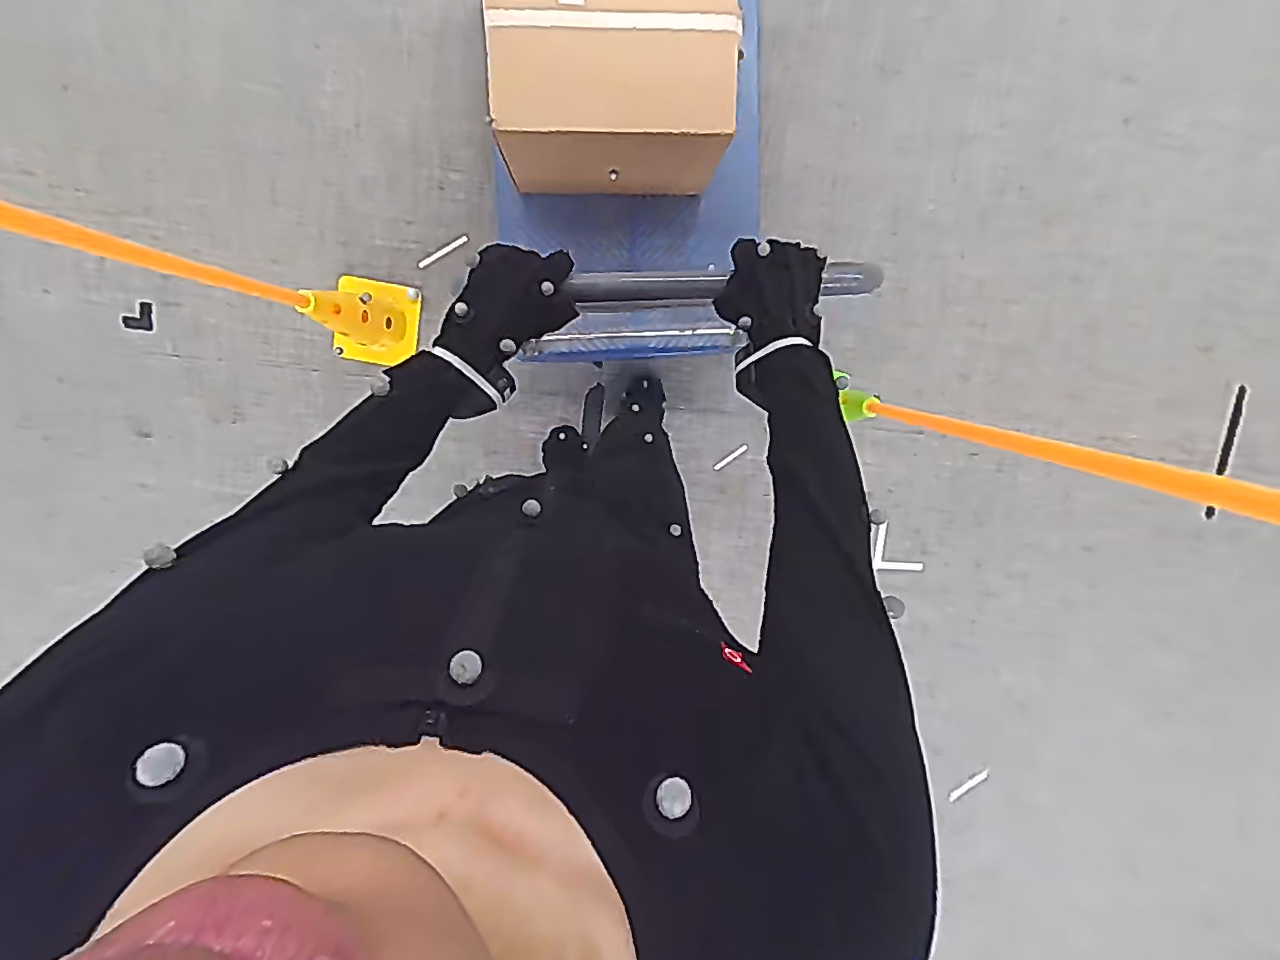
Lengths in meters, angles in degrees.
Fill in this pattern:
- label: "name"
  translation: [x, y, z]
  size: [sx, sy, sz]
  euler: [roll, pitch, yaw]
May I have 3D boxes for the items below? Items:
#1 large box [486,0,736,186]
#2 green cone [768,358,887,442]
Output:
- label: "large box"
  translation: [-0.050, -0.760, 1.006]
  size: [0.408, 0.320, 0.320]
  euler: [-1, 101, -3]
- label: "green cone"
  translation: [0.471, -0.184, 1.289]
  size: [0.202, 0.368, 0.200]
  euler: [10, 99, -7]
